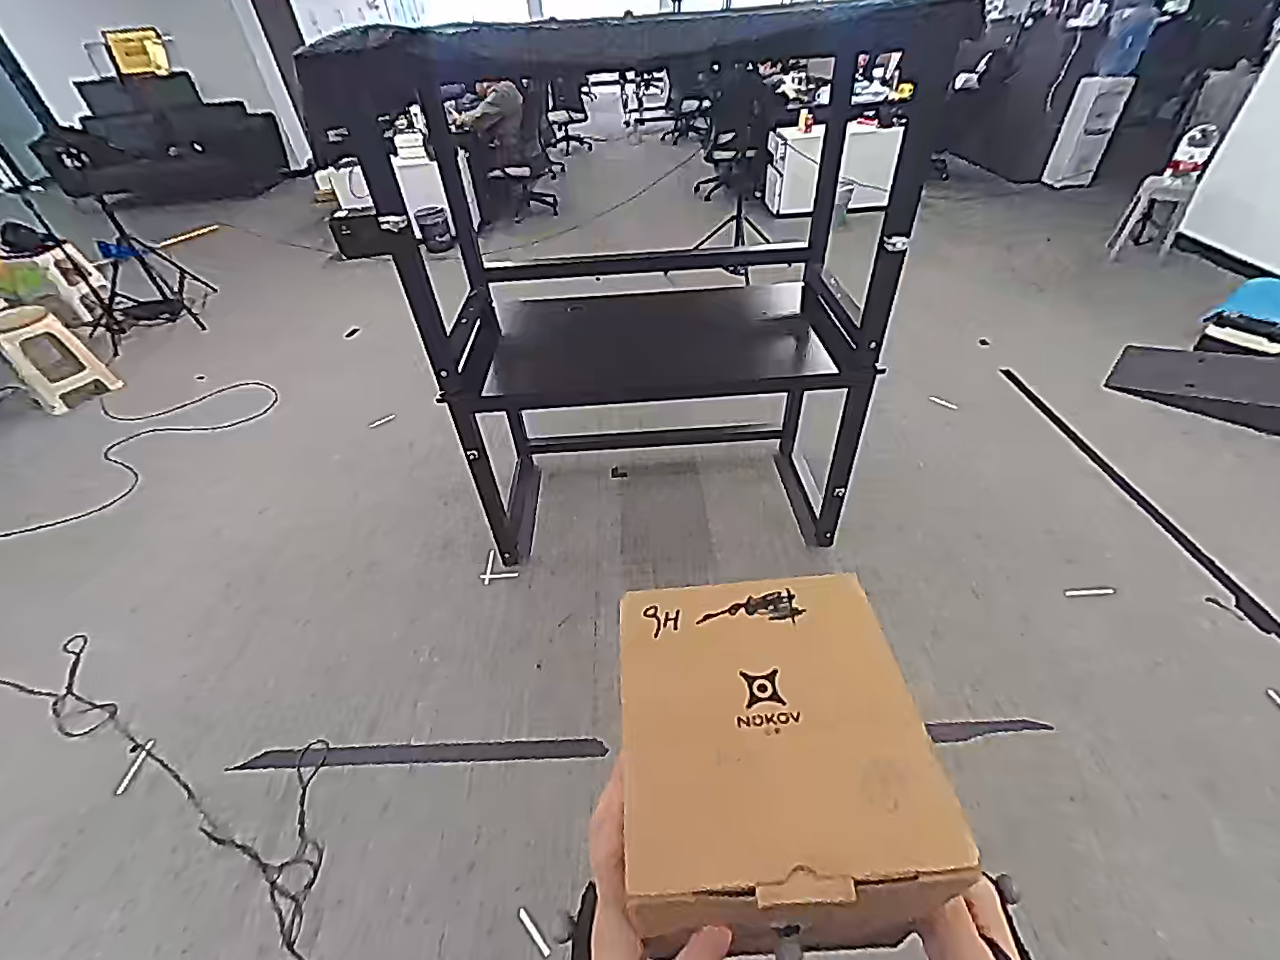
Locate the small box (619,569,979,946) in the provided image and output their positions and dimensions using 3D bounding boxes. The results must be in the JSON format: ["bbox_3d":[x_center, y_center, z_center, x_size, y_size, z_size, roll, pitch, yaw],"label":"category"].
[{"bbox_3d":[0.077,0.184,0.358,0.168,0.176,0.179,-5,41,1],"label":"small box"}]
